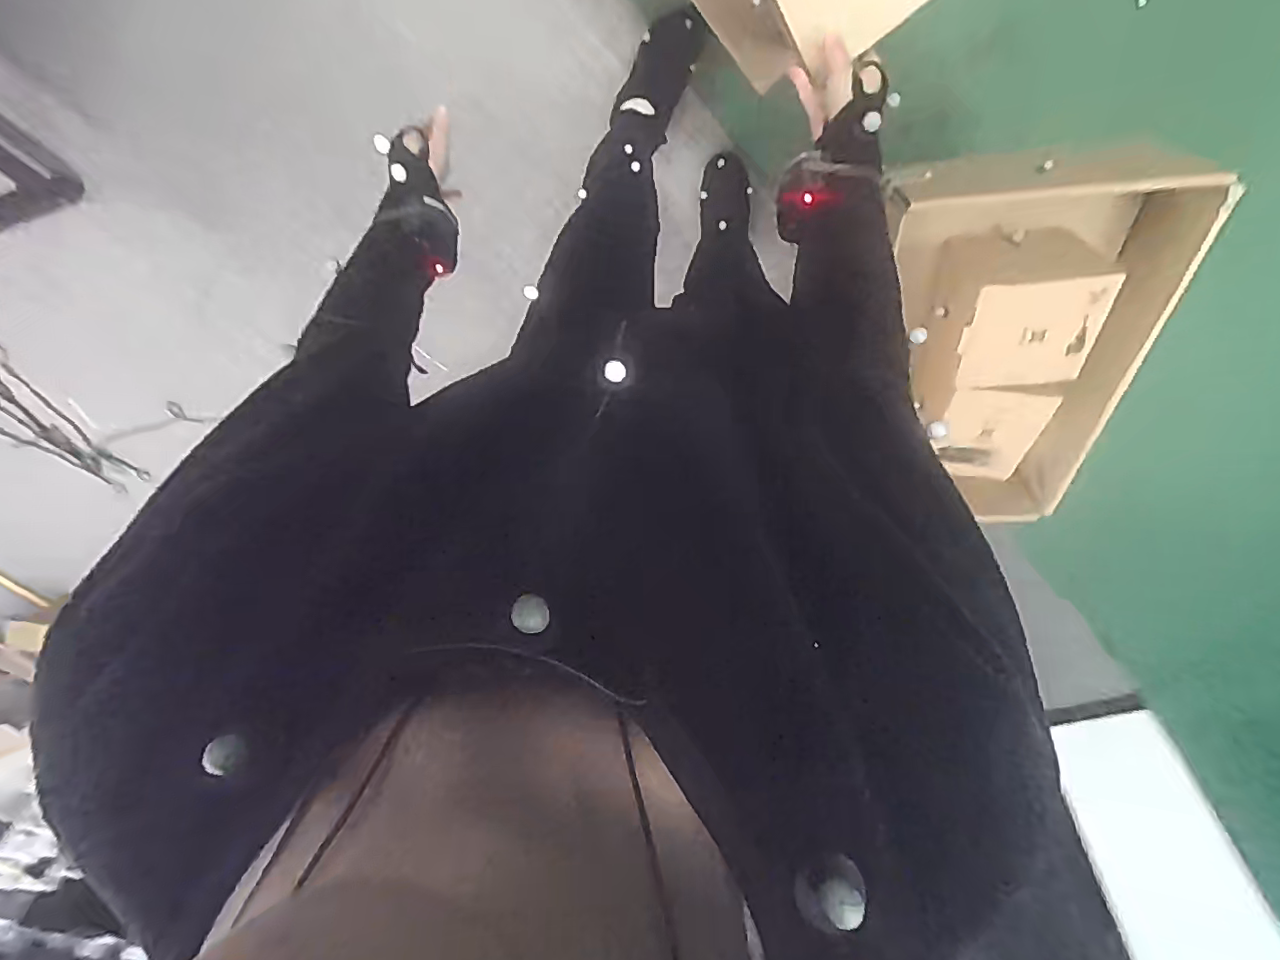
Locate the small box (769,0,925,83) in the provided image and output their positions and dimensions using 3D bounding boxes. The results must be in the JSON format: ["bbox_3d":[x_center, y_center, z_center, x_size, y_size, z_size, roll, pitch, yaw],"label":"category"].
[{"bbox_3d":[0.201,-0.545,0.531,0.168,0.176,0.179,-26,124,30],"label":"small box"}]
